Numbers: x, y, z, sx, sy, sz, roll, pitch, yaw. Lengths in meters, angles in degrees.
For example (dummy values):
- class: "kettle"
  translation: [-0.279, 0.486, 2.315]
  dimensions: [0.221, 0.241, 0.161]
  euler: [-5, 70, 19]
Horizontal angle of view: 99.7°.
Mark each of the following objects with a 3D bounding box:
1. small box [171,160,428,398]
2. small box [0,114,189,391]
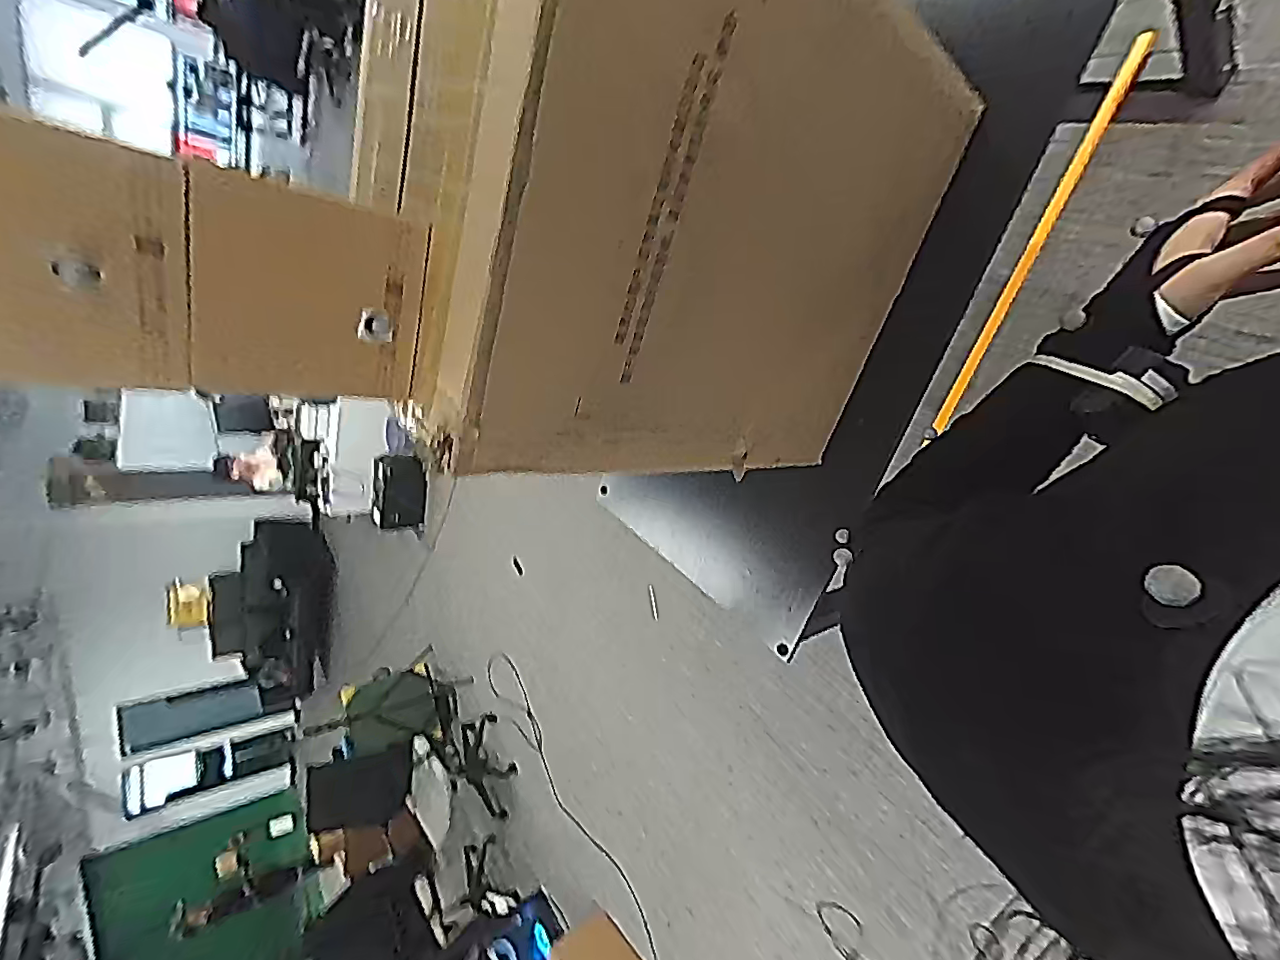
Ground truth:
- class: "small box"
  translation: [-0.318, -0.177, 0.501]
  dimensions: [0.179, 0.176, 0.168]
  euler: [30, 114, 41]
- class: "small box"
  translation: [-0.439, -0.167, 0.390]
  dimensions: [0.179, 0.176, 0.168]
  euler: [33, 117, 41]
